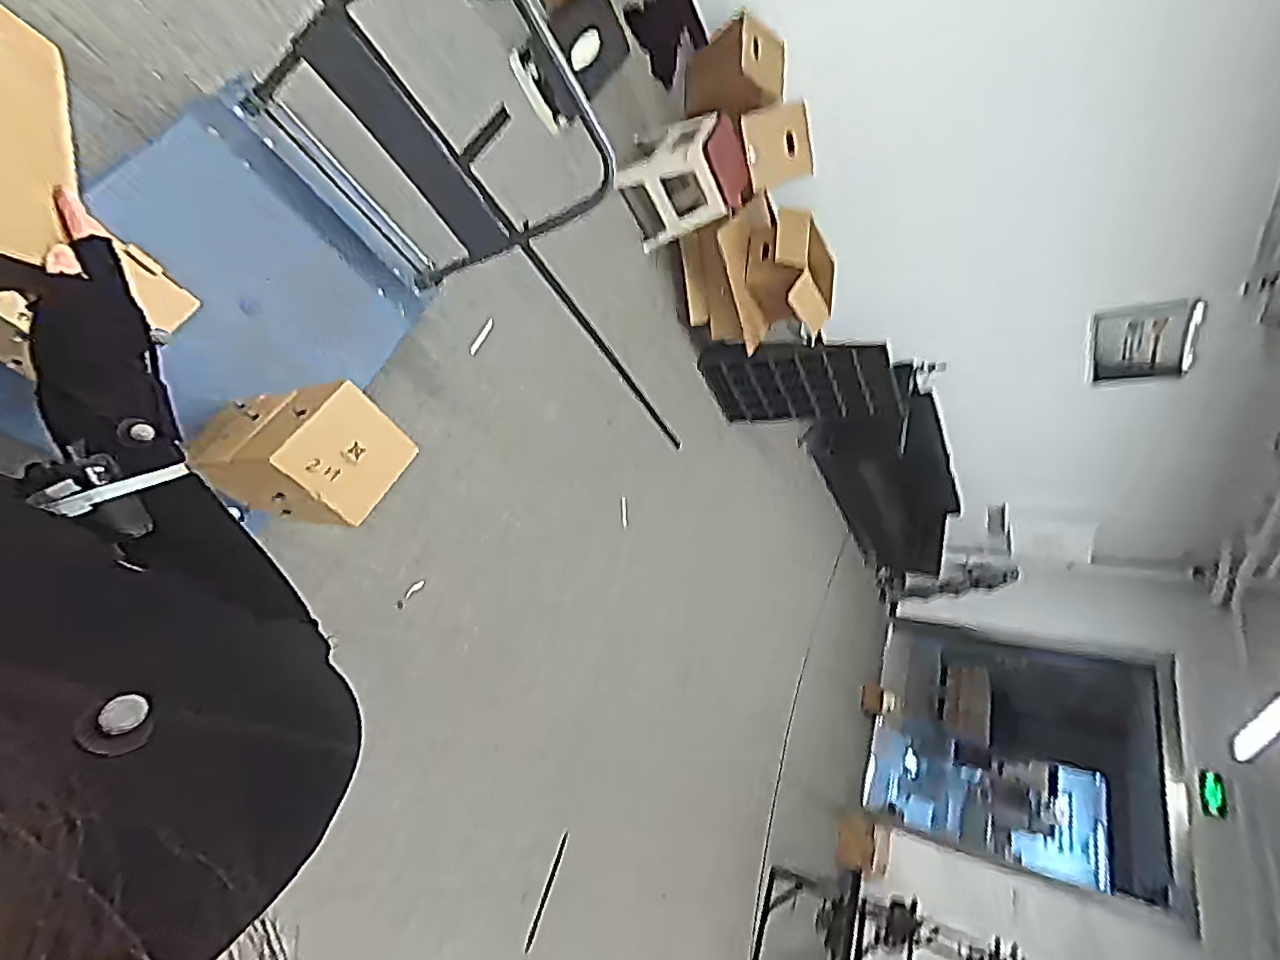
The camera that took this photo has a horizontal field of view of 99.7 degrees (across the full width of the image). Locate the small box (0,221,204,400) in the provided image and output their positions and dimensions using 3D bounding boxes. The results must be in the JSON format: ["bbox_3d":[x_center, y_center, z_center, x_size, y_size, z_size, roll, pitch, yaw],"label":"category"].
[{"bbox_3d":[-0.810,-0.239,0.796,0.168,0.176,0.179,50,51,-41],"label":"small box"}]

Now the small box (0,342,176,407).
[{"bbox_3d":[-0.940,-0.236,0.896,0.179,0.176,0.168,52,50,-39],"label":"small box"}]

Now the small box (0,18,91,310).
[{"bbox_3d":[-0.477,-0.200,0.299,0.168,0.179,0.176,-90,173,-87],"label":"small box"}]

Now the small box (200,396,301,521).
[{"bbox_3d":[-0.658,-0.032,1.005,0.179,0.176,0.168,55,49,-39],"label":"small box"}]

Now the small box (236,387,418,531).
[{"bbox_3d":[-0.524,-0.035,0.909,0.168,0.176,0.179,56,48,-38],"label":"small box"}]
